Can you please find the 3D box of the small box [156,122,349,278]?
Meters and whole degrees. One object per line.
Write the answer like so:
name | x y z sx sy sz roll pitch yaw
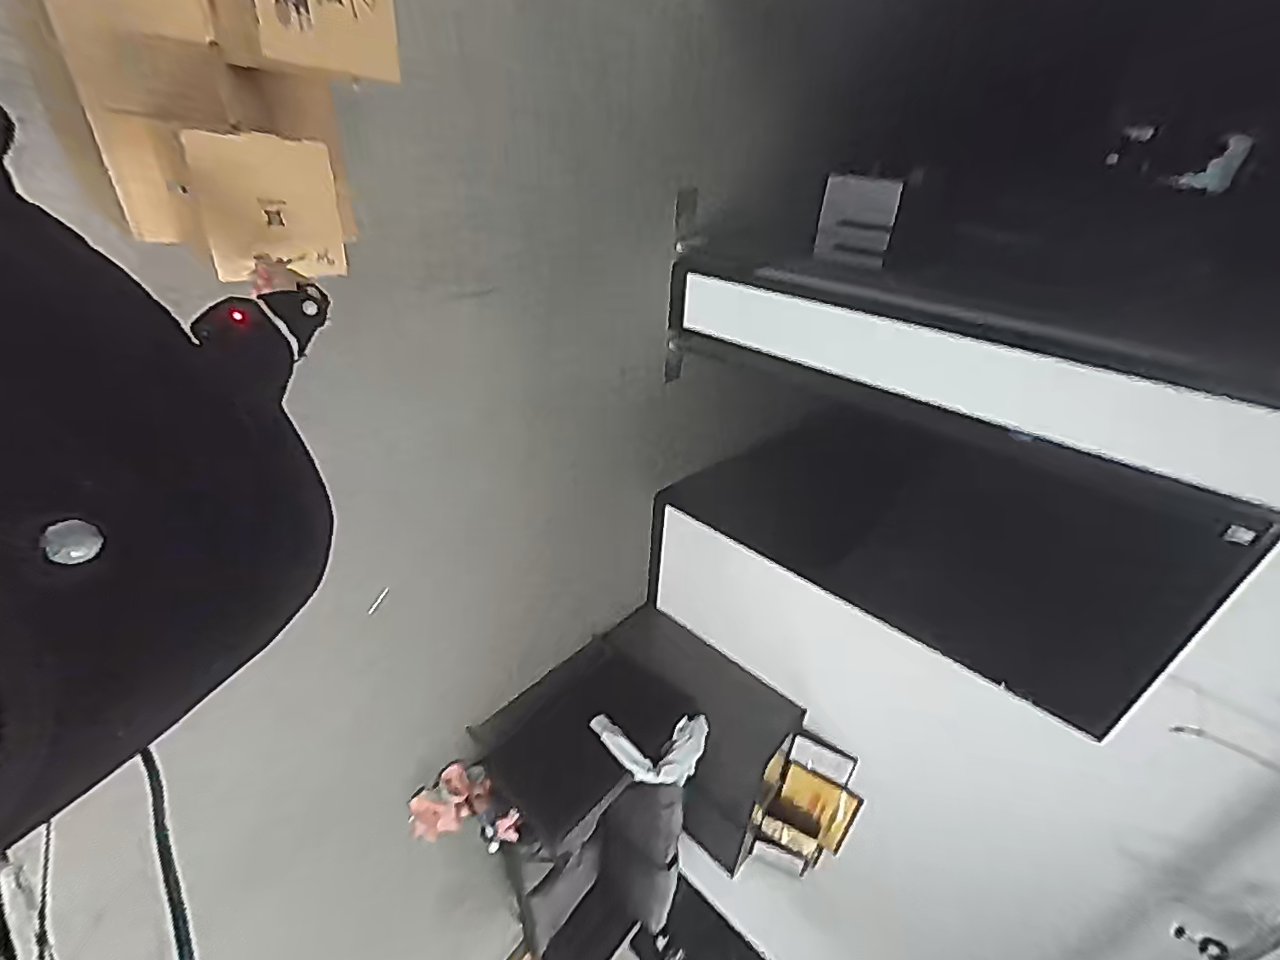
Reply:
small box | -0.546 -0.396 0.769 0.168 0.176 0.179 -23 131 -41
